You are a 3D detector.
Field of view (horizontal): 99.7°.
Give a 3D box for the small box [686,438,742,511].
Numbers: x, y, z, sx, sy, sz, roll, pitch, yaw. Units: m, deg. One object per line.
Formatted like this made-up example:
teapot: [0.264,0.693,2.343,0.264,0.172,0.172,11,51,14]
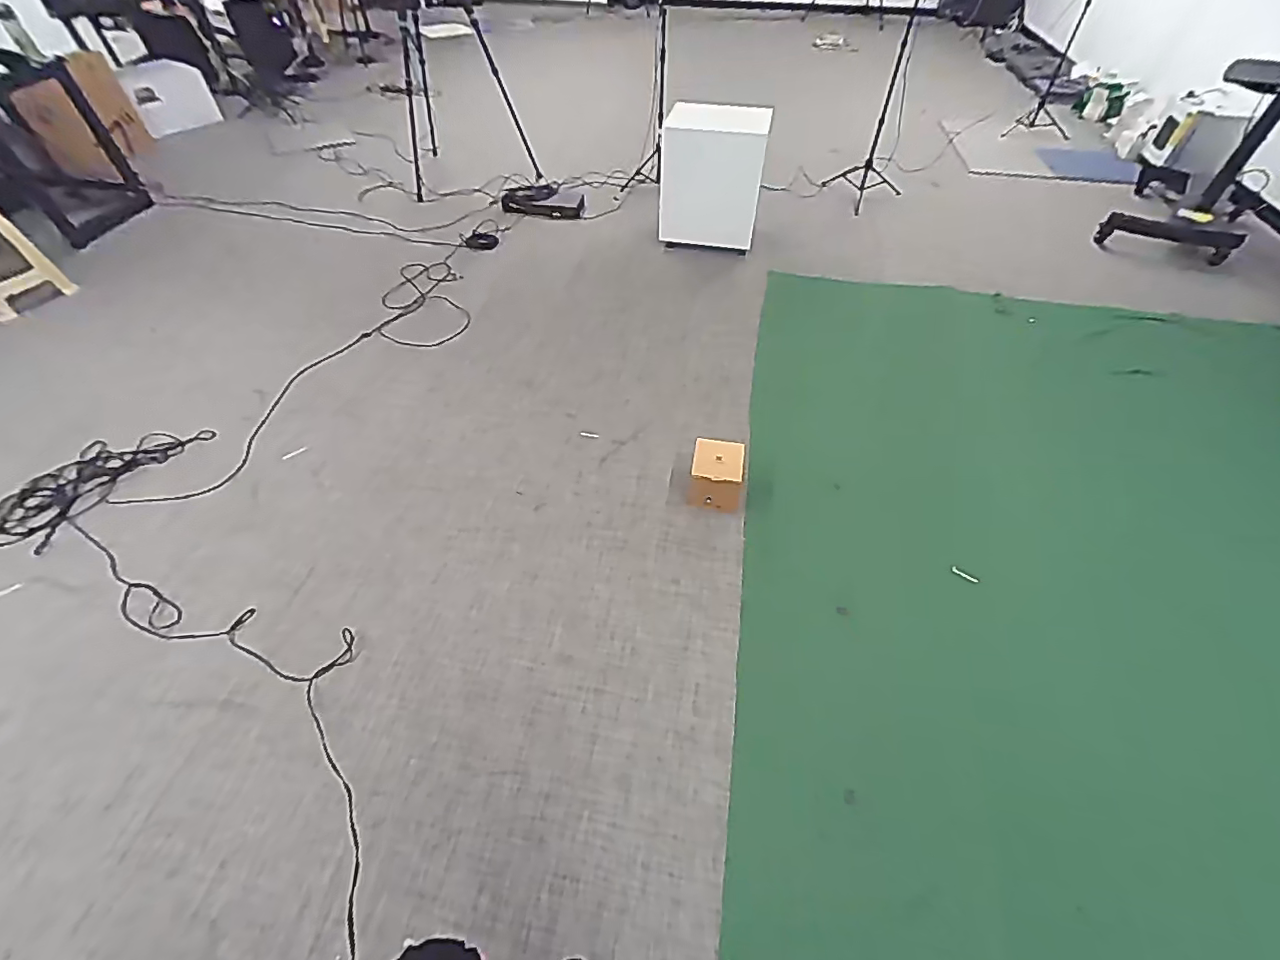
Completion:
small box: [0.253,-0.019,1.861,0.168,0.176,0.179,8,50,6]
